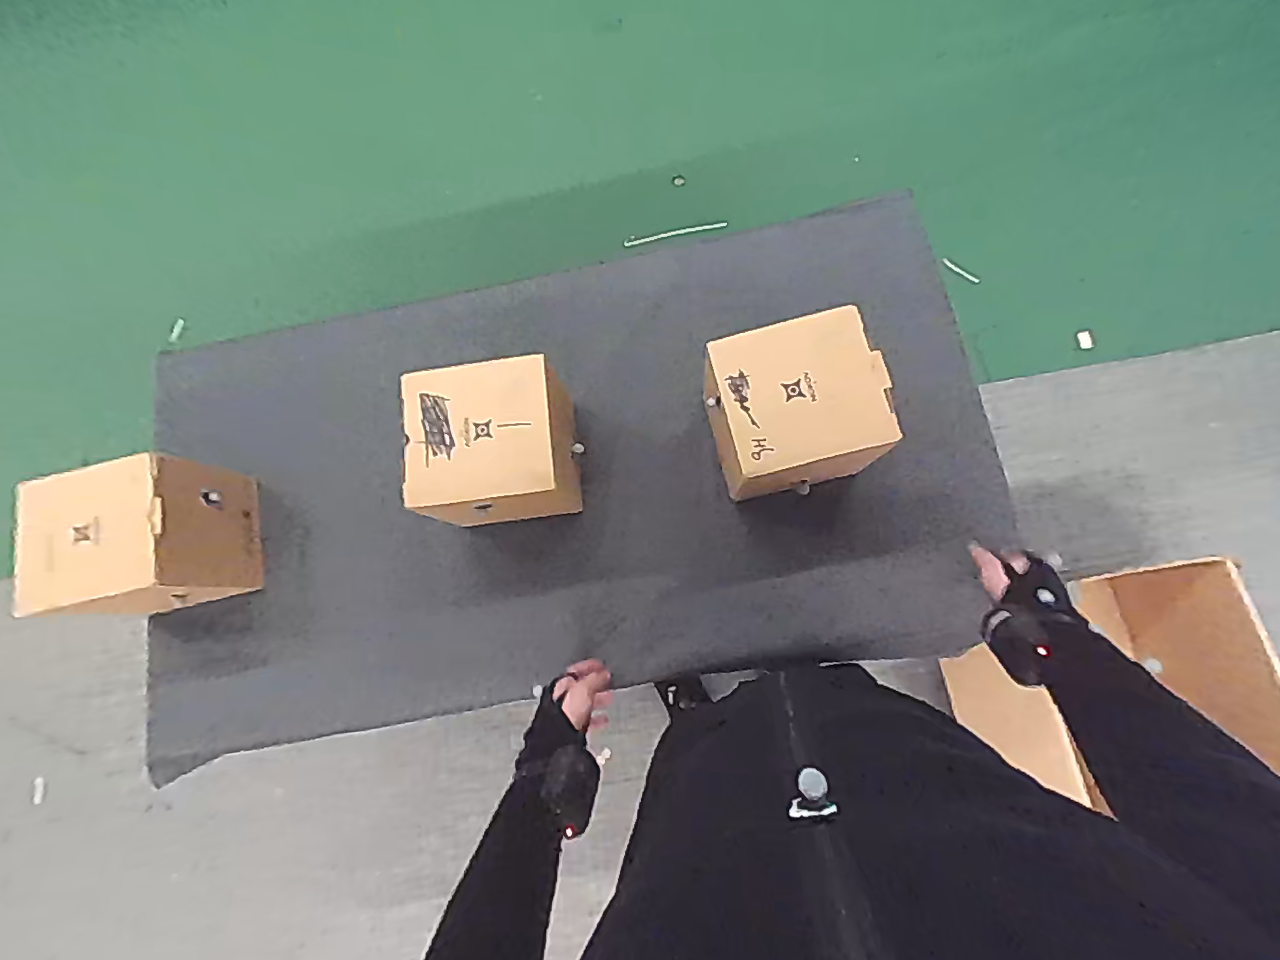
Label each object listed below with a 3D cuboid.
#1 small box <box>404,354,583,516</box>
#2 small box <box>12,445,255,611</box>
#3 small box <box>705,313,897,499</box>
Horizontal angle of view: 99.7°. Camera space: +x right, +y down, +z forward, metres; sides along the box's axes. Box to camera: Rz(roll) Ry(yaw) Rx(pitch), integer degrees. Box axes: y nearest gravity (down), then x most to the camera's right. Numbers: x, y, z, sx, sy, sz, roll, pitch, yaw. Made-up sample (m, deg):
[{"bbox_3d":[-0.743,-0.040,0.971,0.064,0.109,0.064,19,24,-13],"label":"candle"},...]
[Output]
[{"bbox_3d":[-0.178,-0.046,0.698,0.179,0.176,0.168,-4,80,5],"label":"small box"},{"bbox_3d":[-0.641,0.069,0.707,0.179,0.176,0.168,-14,77,3],"label":"small box"},{"bbox_3d":[0.189,-0.082,0.690,0.179,0.176,0.168,-16,79,3],"label":"small box"}]
